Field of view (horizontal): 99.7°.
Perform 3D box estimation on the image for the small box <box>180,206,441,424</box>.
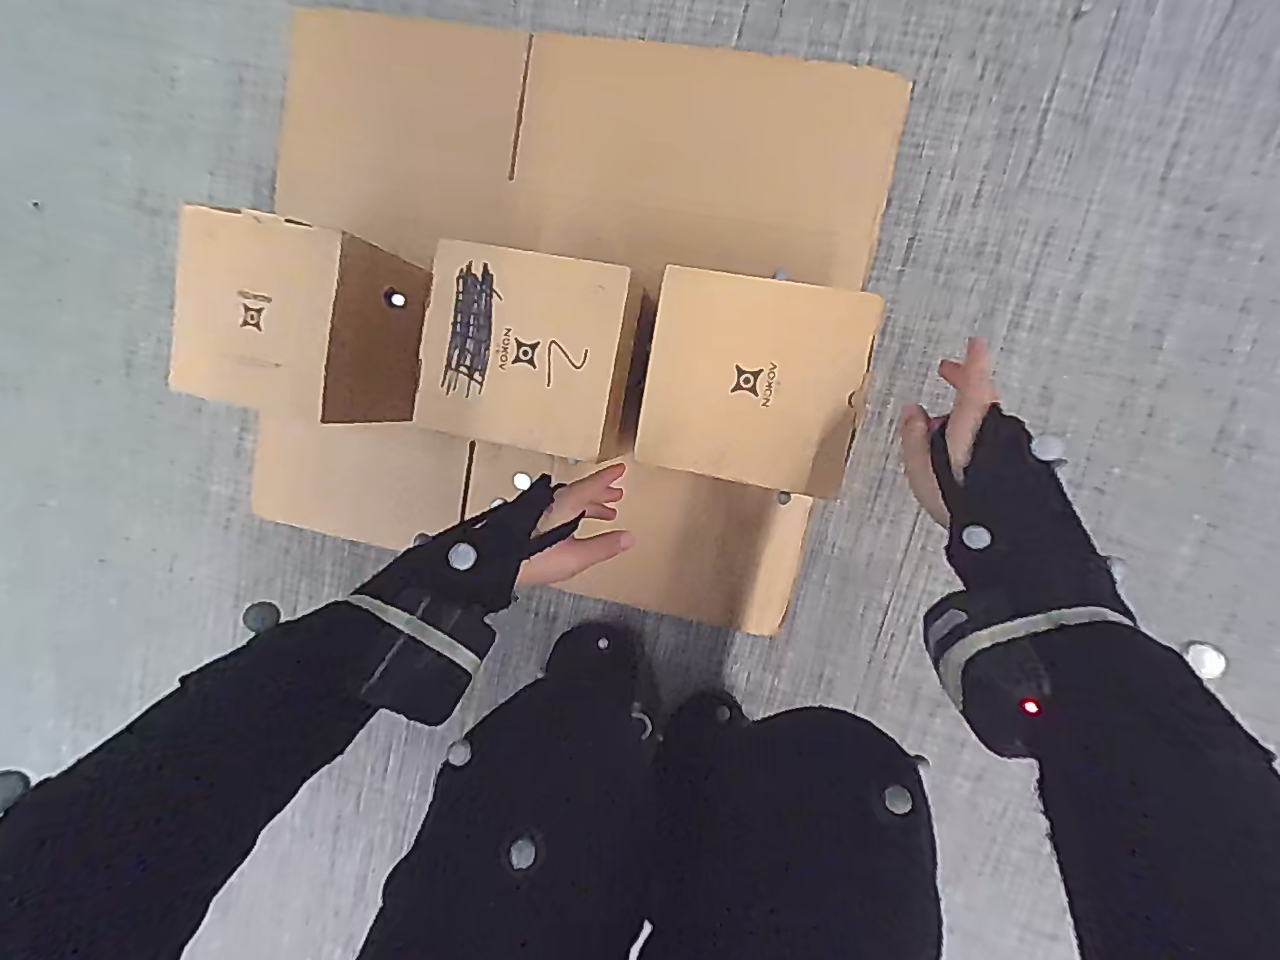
[{"bbox_3d":[-0.334,-0.162,0.577,0.168,0.176,0.179,12,99,8],"label":"small box"}]
